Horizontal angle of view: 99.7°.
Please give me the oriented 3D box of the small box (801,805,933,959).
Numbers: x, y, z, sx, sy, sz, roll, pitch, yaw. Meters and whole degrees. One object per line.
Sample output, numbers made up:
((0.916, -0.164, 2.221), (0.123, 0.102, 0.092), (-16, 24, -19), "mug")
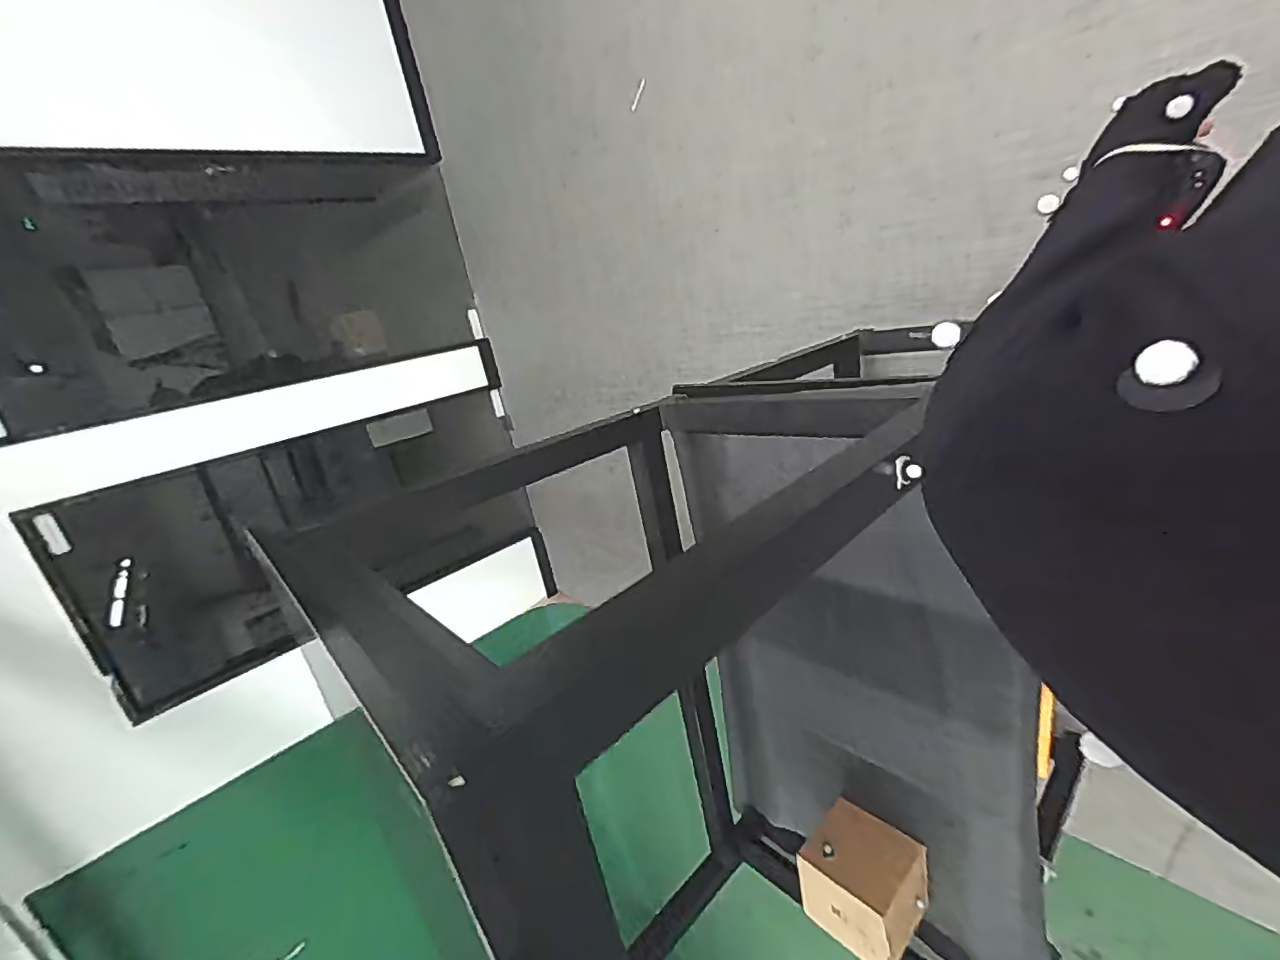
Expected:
((0.438, 0.772, 1.040), (0.179, 0.176, 0.168), (10, 117, 49), "small box")
